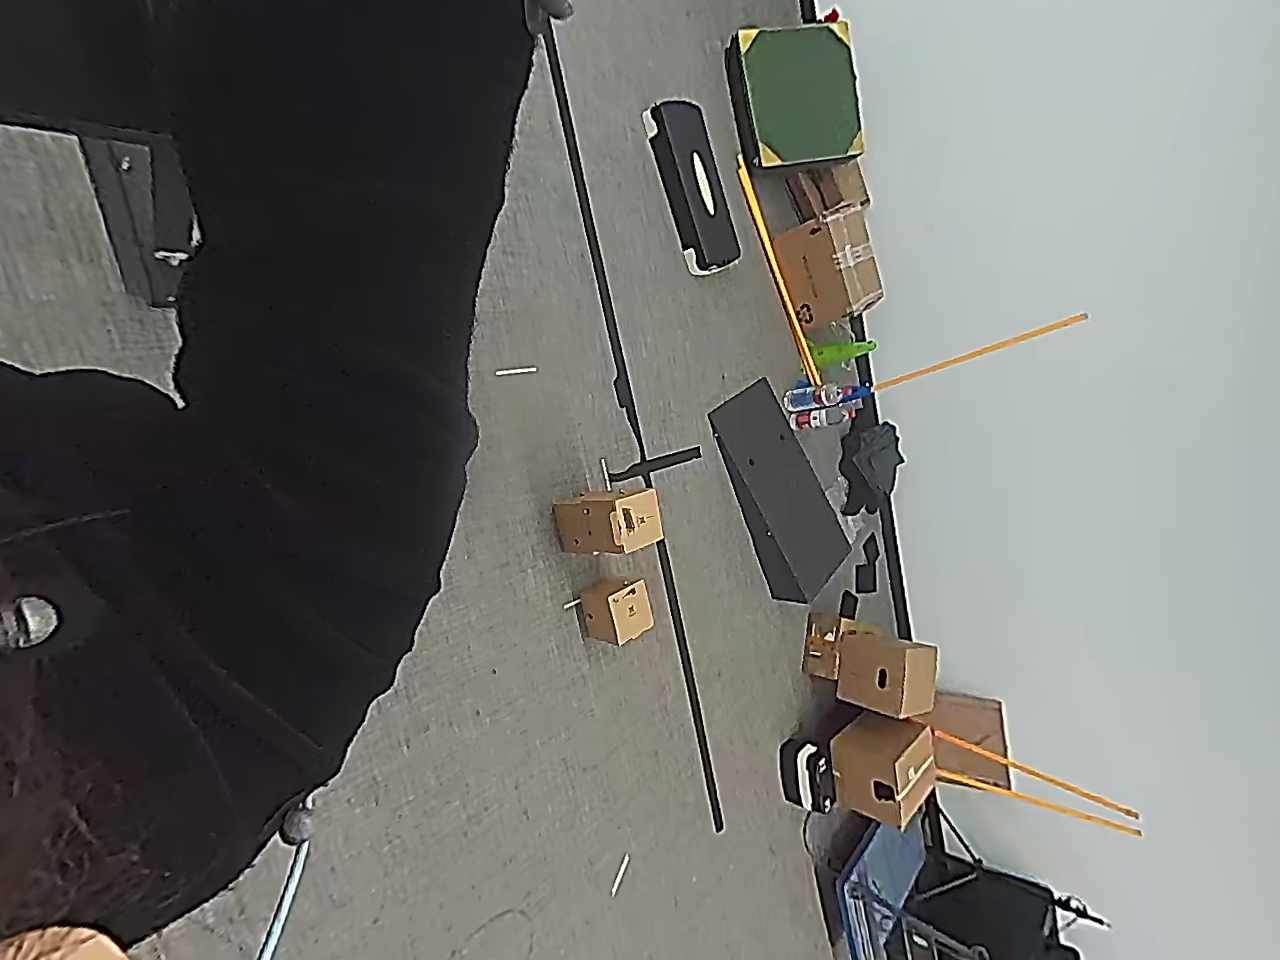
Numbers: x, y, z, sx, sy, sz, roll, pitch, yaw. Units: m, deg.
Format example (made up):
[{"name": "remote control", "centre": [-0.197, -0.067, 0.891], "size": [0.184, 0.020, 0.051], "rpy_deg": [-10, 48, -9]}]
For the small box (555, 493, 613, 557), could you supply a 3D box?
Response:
[{"name": "small box", "centre": [-0.161, 0.144, 1.806], "size": [0.168, 0.176, 0.179], "rpy_deg": [-20, 101, -41]}]

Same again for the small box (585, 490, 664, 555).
[{"name": "small box", "centre": [-0.055, 0.129, 1.682], "size": [0.179, 0.176, 0.168], "rpy_deg": [-16, 99, -43]}]

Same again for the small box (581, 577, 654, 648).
[{"name": "small box", "centre": [-0.081, 0.449, 1.861], "size": [0.168, 0.176, 0.179], "rpy_deg": [-19, 101, -41]}]
